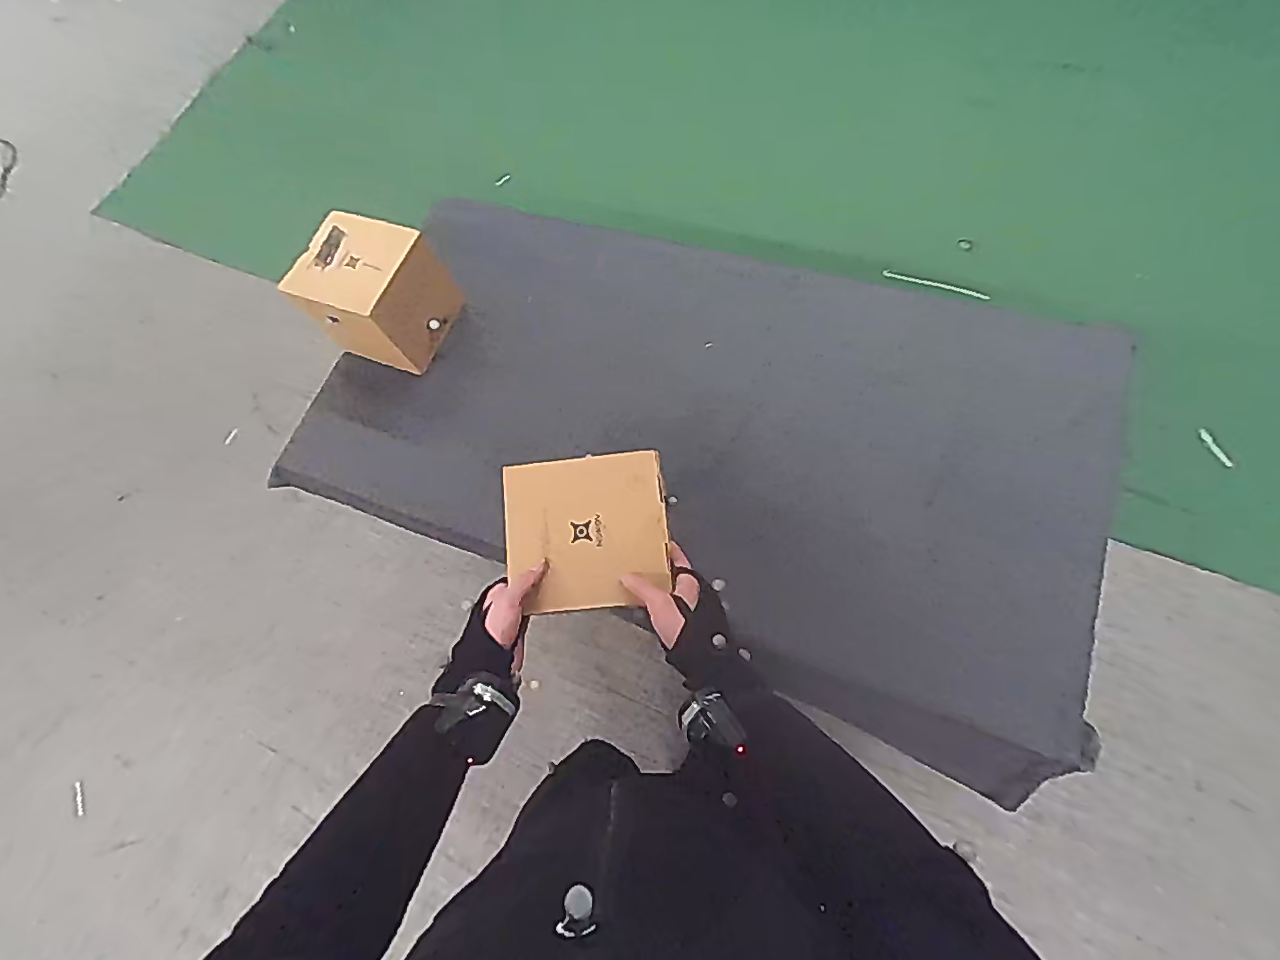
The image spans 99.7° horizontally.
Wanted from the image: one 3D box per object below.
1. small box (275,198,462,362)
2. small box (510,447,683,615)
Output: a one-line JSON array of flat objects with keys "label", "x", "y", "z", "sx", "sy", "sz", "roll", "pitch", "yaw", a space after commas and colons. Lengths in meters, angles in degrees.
[{"label": "small box", "x": -0.428, "y": -0.317, "z": 0.882, "sx": 0.179, "sy": 0.176, "sz": 0.168, "roll": 20, "pitch": 74, "yaw": 12}, {"label": "small box", "x": -0.044, "y": 0.068, "z": 0.647, "sx": 0.179, "sy": 0.176, "sz": 0.168, "roll": -7, "pitch": 76, "yaw": 4}]
